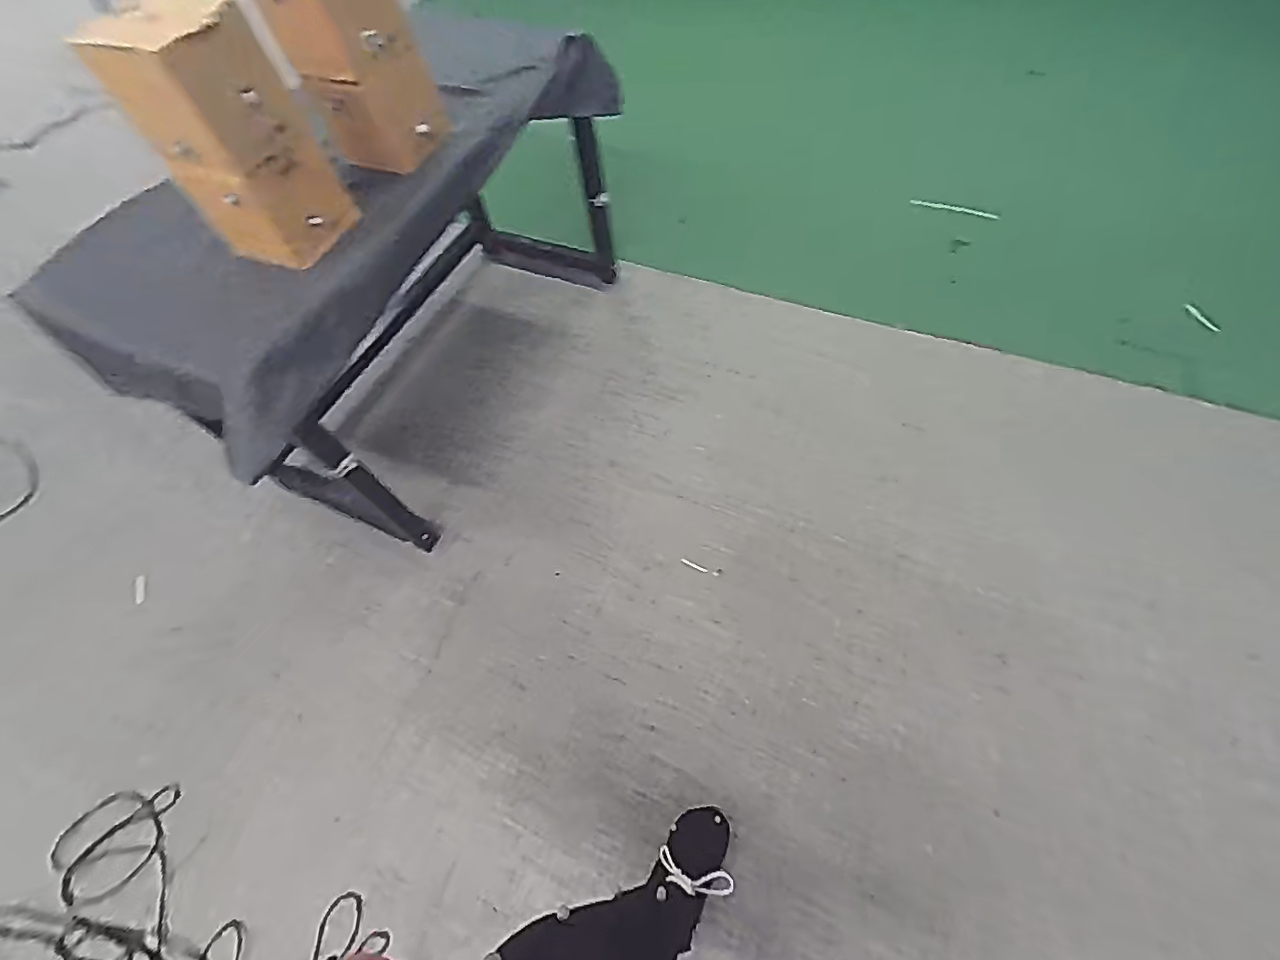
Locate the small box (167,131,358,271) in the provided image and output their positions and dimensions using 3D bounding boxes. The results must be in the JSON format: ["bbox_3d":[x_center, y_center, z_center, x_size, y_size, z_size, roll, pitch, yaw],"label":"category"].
[{"bbox_3d":[-0.650,-0.495,0.953,0.179,0.176,0.168,17,63,15],"label":"small box"}]

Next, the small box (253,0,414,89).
[{"bbox_3d":[-0.537,-0.814,0.935,0.179,0.176,0.168,20,65,17],"label":"small box"}]

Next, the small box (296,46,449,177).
[{"bbox_3d":[-0.520,-0.735,1.076,0.179,0.176,0.168,18,64,16],"label":"small box"}]

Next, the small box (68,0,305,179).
[{"bbox_3d":[-0.659,-0.581,0.814,0.179,0.176,0.168,16,62,14],"label":"small box"}]
